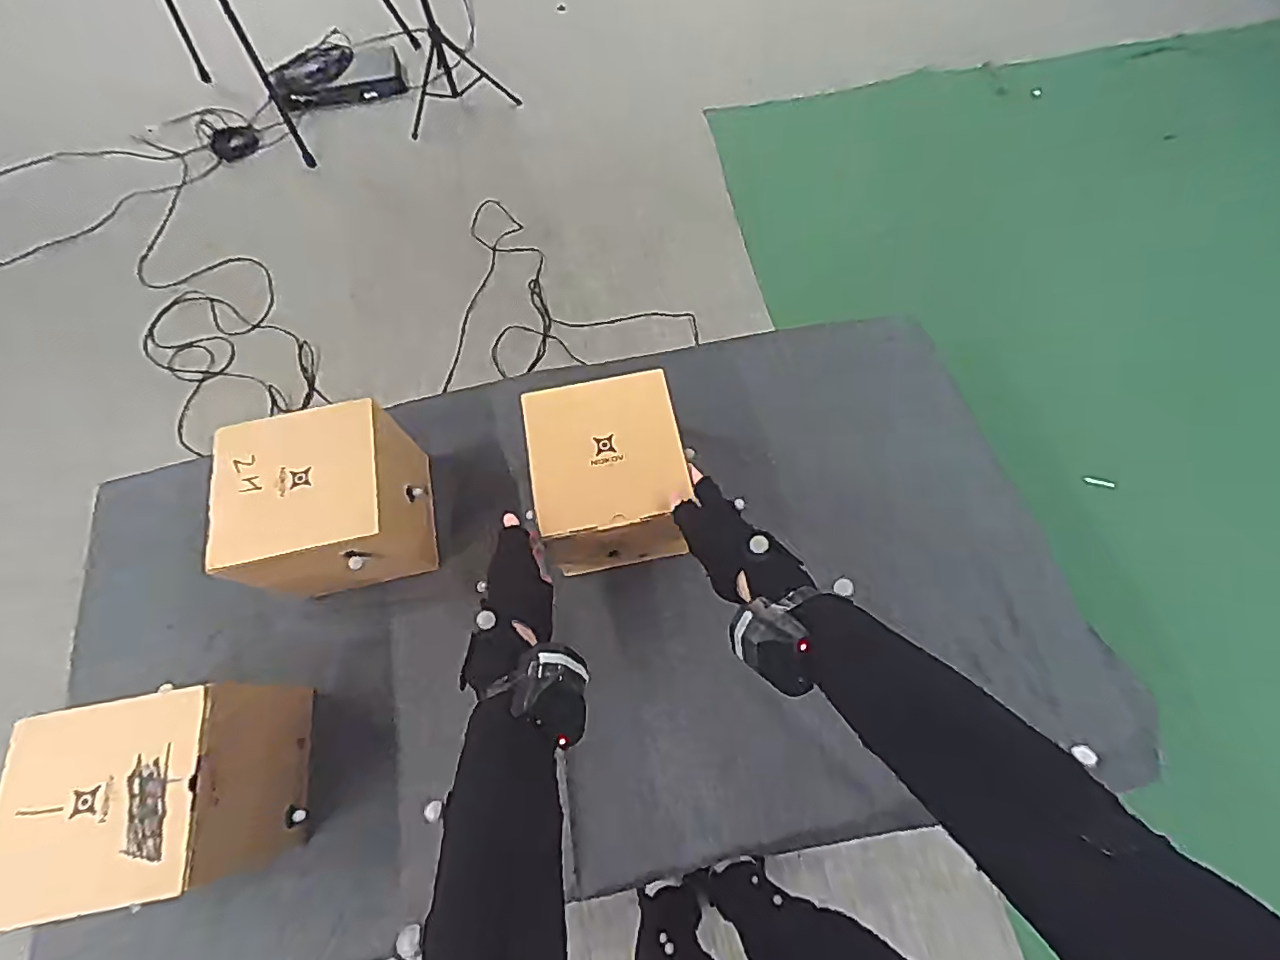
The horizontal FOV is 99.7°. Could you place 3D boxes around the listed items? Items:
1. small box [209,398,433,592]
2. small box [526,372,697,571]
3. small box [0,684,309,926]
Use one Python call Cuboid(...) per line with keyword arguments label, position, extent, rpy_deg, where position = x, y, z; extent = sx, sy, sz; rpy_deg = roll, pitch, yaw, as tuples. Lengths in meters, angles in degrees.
Cuboid(label="small box", position=(-0.361, 0.027, 0.646), extent=(0.179, 0.176, 0.168), rpy_deg=(-12, 69, -3))
Cuboid(label="small box", position=(-0.035, -0.003, 0.656), extent=(0.168, 0.176, 0.179), rpy_deg=(-11, 69, -3))
Cuboid(label="small box", position=(-0.464, 0.303, 0.538), extent=(0.179, 0.176, 0.168), rpy_deg=(-10, 67, -2))
